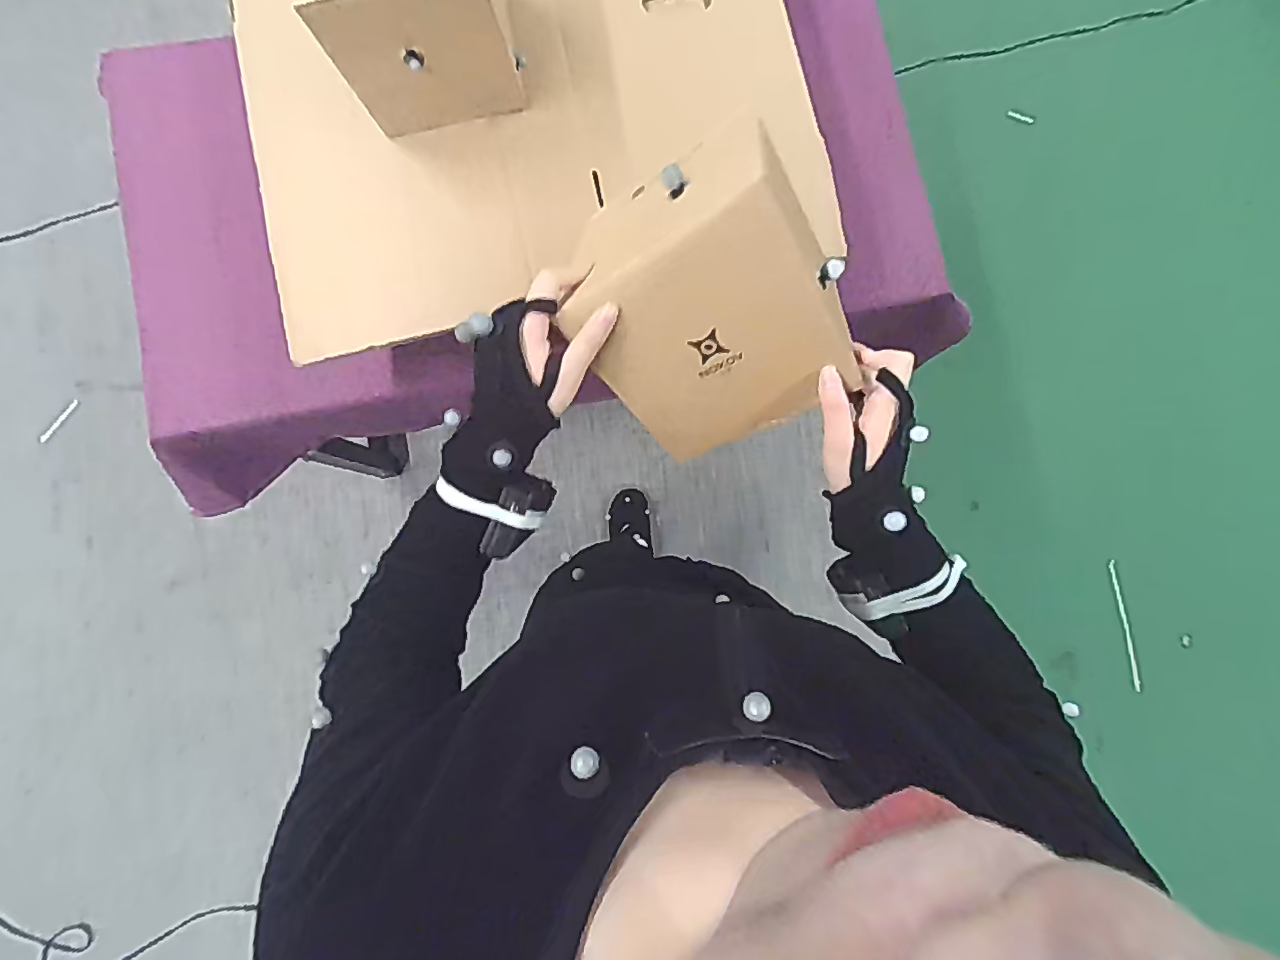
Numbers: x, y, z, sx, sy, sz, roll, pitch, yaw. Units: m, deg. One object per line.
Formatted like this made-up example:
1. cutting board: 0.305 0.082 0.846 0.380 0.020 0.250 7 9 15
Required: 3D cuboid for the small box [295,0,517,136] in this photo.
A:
1. small box: -0.241 -0.514 0.580 0.179 0.176 0.168 -11 85 3
